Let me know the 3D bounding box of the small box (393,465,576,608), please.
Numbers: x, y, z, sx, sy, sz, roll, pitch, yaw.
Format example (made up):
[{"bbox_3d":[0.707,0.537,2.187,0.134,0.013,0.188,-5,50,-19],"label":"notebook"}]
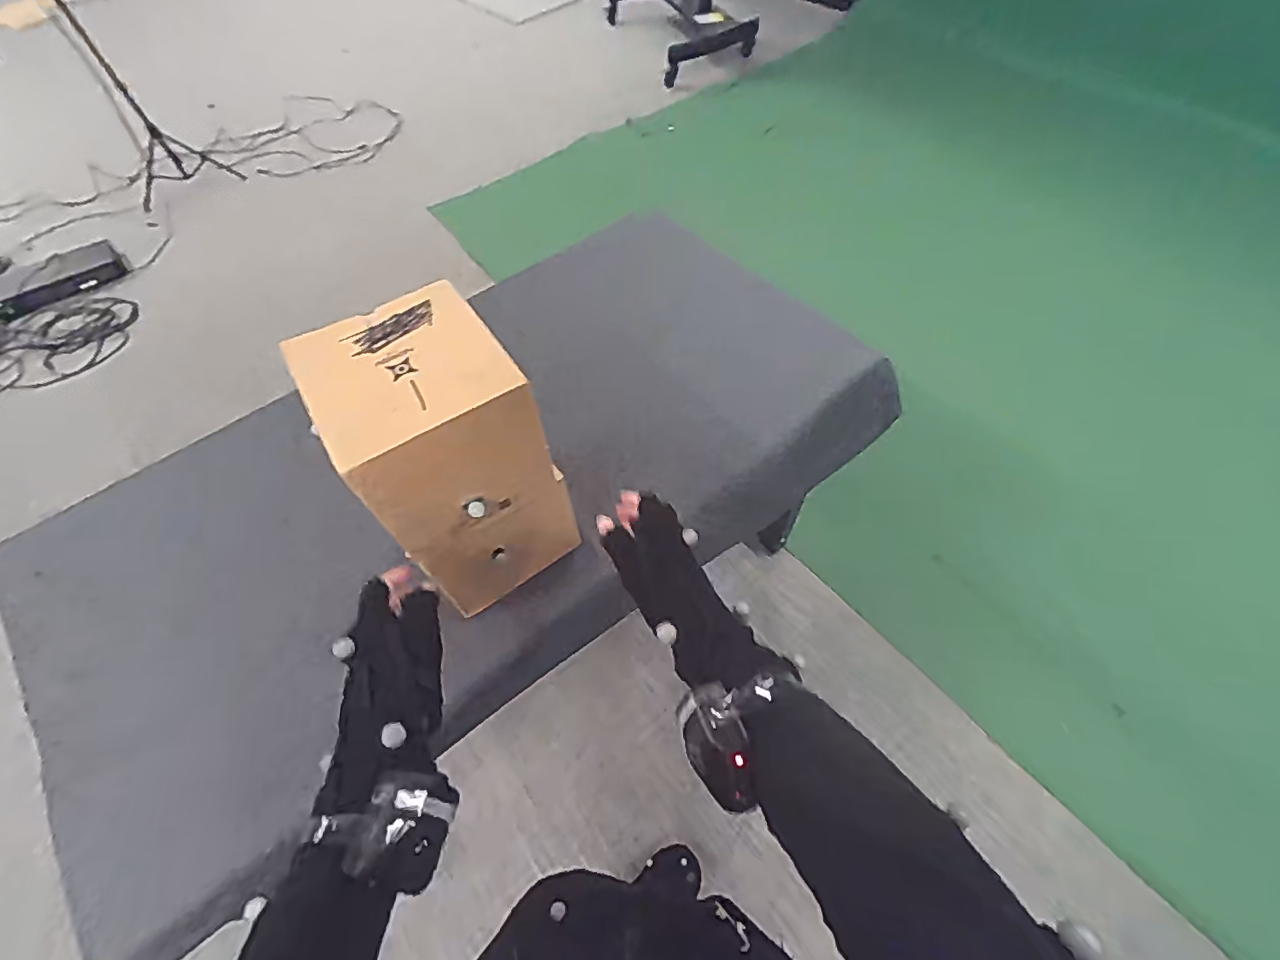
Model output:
[{"bbox_3d":[-0.202,0.030,0.676,0.179,0.176,0.168,-34,62,-16],"label":"small box"}]

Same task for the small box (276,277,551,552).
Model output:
[{"bbox_3d":[-0.212,-0.061,0.540,0.168,0.176,0.179,-34,60,-17],"label":"small box"}]
